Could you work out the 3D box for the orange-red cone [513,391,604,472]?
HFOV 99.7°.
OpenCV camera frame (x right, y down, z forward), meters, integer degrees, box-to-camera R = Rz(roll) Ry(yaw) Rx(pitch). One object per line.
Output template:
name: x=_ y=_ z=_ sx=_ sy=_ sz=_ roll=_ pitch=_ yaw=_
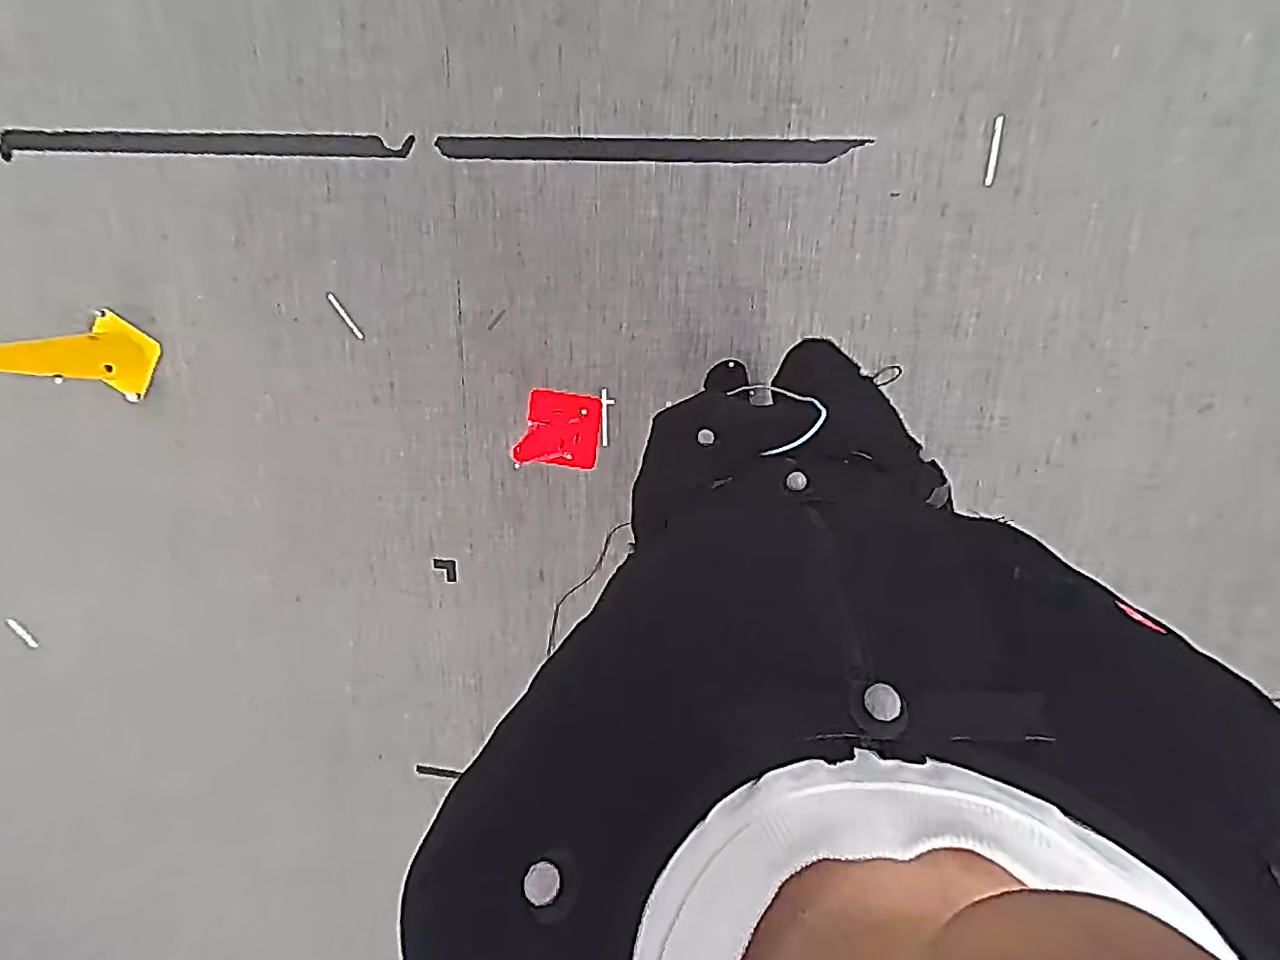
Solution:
orange-red cone: x=-0.226 y=-0.093 z=1.284 sx=0.199 sy=0.360 sz=0.198 roll=11 pitch=104 yaw=6
